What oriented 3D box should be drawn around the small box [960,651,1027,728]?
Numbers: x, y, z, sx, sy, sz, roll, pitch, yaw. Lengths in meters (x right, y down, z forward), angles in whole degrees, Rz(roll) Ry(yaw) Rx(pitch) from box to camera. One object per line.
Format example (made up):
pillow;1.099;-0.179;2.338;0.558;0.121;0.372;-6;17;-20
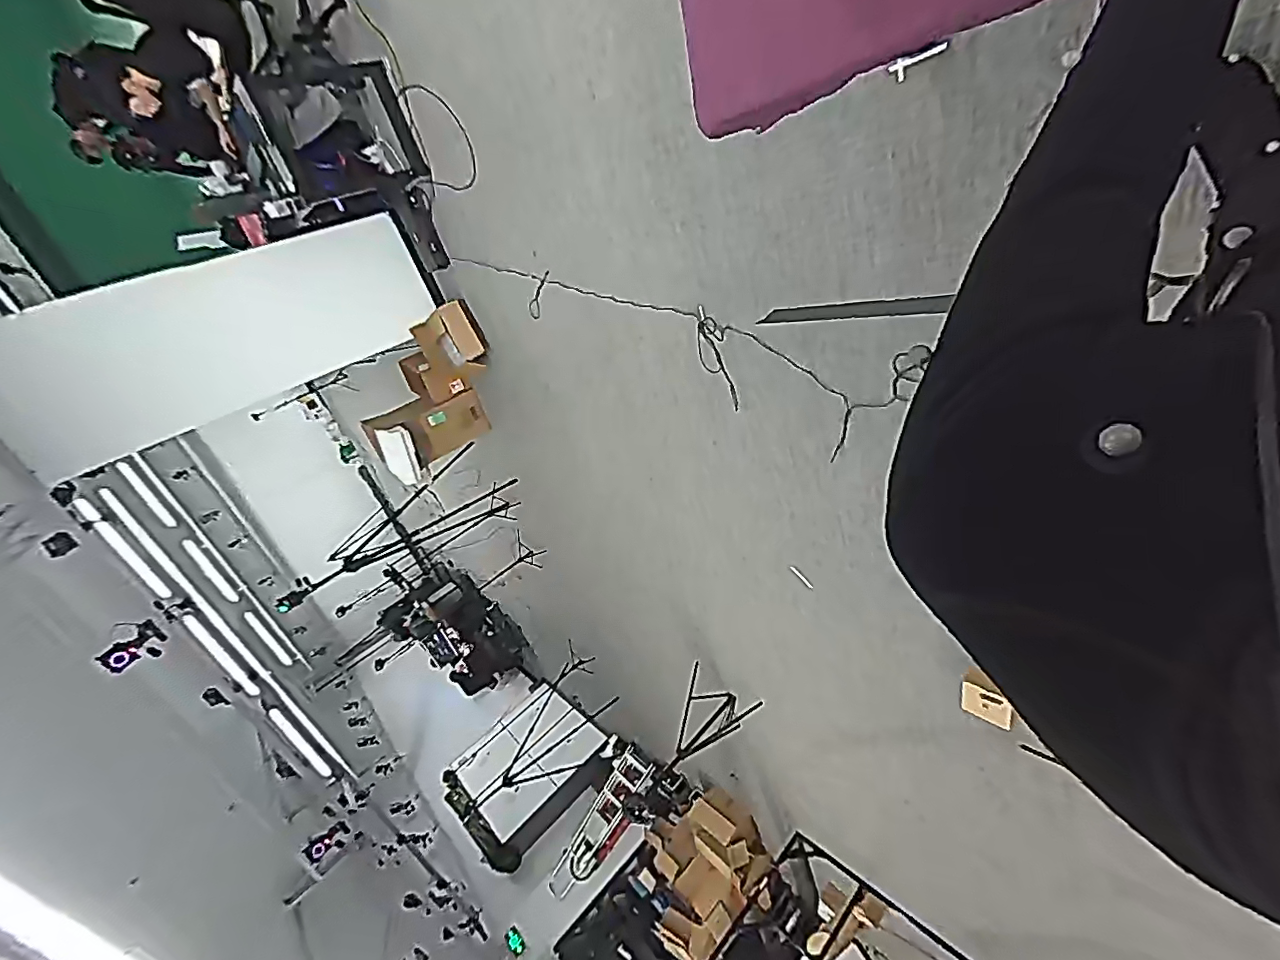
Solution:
small box;1.334;0.783;2.040;0.168;0.176;0.179;18;136;47
